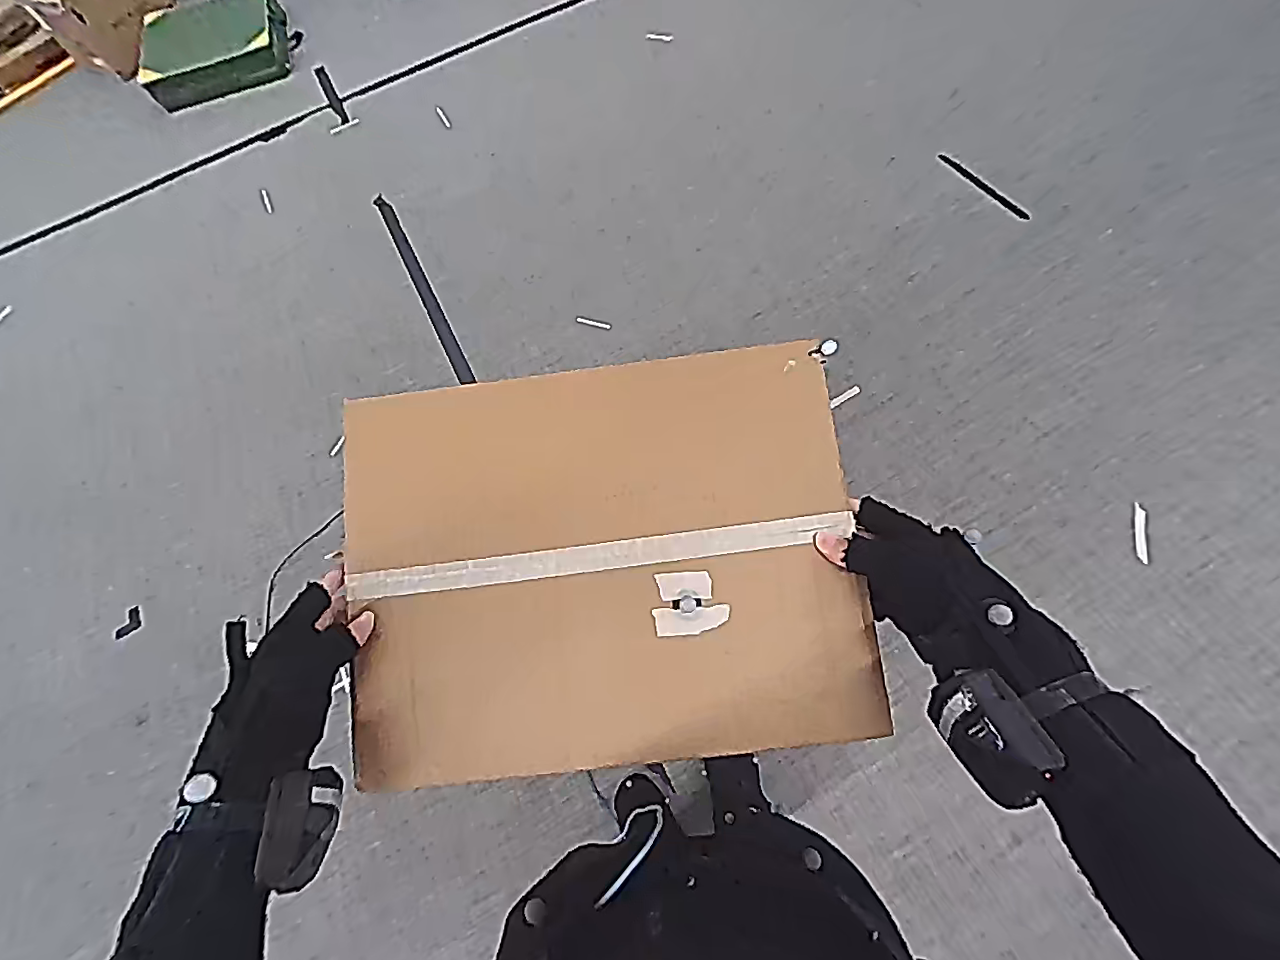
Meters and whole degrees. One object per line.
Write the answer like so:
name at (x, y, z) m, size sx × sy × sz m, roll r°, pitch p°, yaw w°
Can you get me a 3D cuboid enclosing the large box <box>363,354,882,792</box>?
large box at (-0.023, 0.094, 0.591) m, size 0.408 × 0.320 × 0.320 m, roll -8°, pitch 80°, yaw 1°
